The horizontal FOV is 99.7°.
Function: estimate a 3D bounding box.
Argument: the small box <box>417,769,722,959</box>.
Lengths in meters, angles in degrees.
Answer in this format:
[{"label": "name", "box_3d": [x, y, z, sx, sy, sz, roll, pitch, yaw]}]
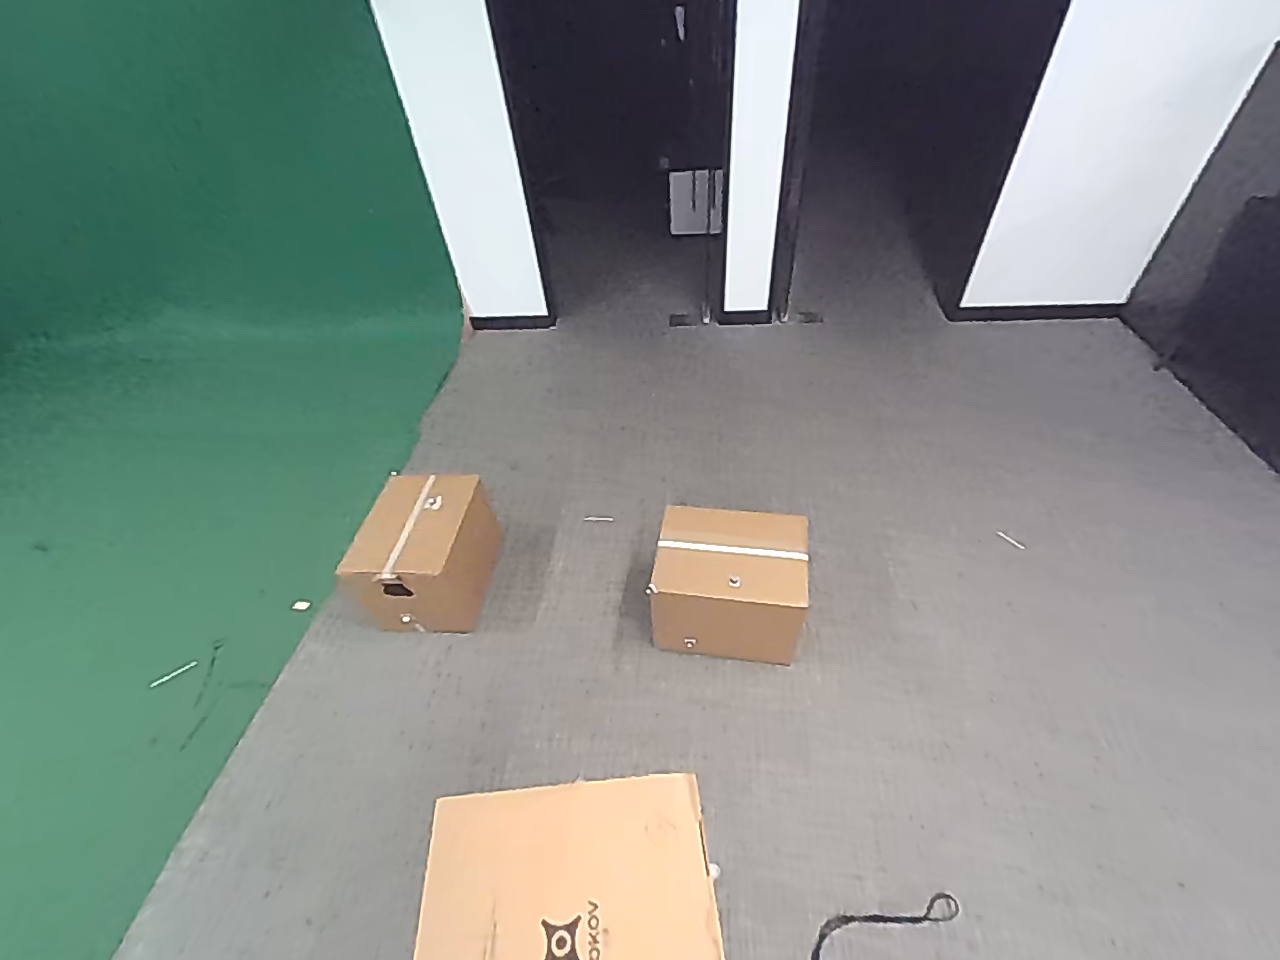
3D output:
[{"label": "small box", "box_3d": [-0.041, 0.318, 0.372, 0.179, 0.176, 0.168, -3, 45, -3]}]

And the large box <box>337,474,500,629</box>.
[{"label": "large box", "box_3d": [-0.683, 0.228, 1.746, 0.320, 0.320, 0.408, 0, 44, 6]}]
